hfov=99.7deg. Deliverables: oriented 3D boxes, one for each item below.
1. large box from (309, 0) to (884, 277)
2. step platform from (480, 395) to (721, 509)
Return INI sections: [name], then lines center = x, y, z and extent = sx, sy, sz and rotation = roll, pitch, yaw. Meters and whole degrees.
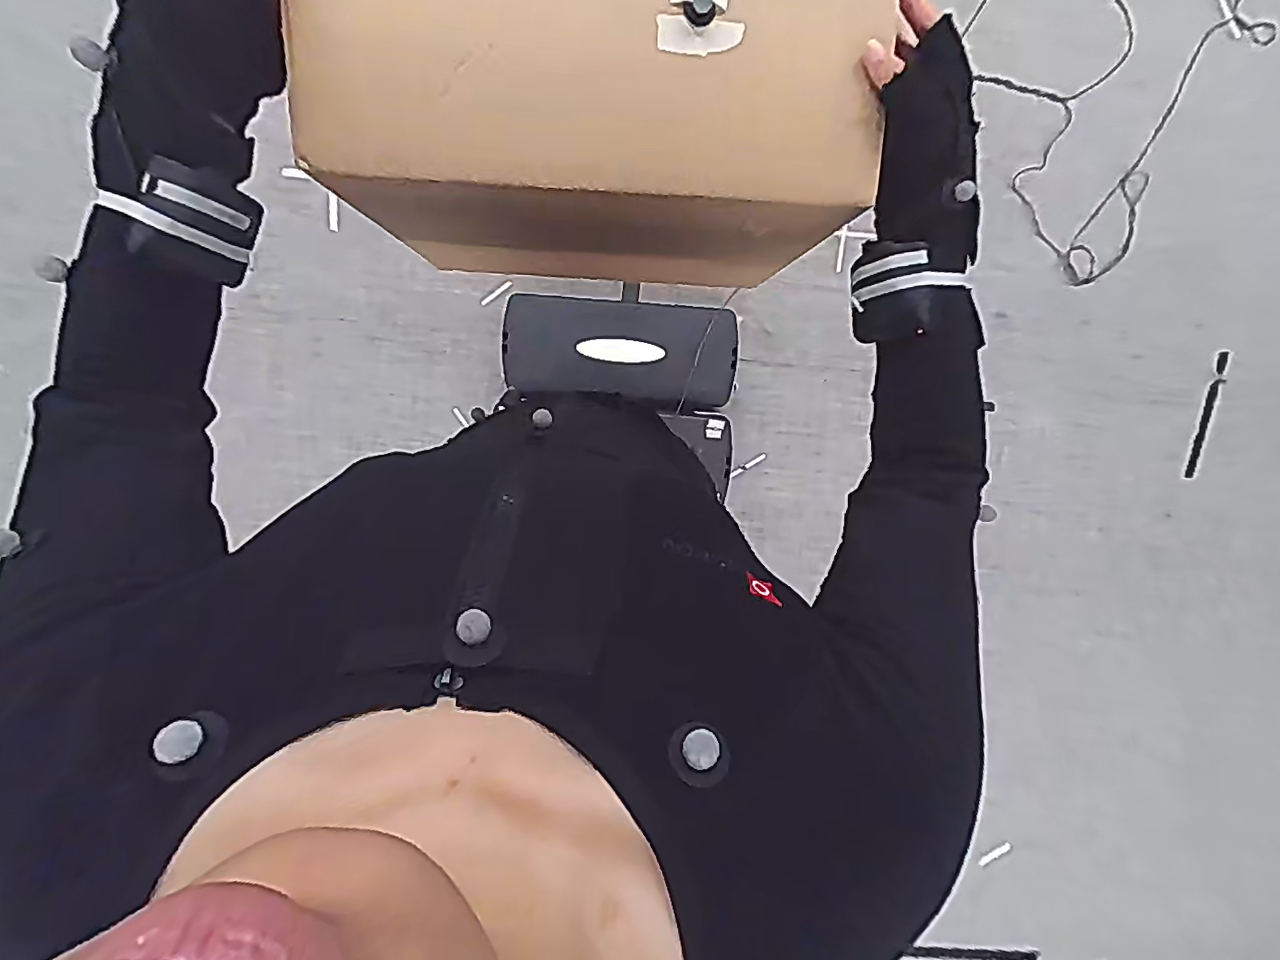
[large box]
center = -0.034, -0.389, 0.514
extent = 0.408, 0.320, 0.320
rotation = 1, 100, -5
[step platform]
center = -0.109, -0.081, 1.566
extent = 0.684, 0.204, 0.286
rotation = 4, 98, -1
